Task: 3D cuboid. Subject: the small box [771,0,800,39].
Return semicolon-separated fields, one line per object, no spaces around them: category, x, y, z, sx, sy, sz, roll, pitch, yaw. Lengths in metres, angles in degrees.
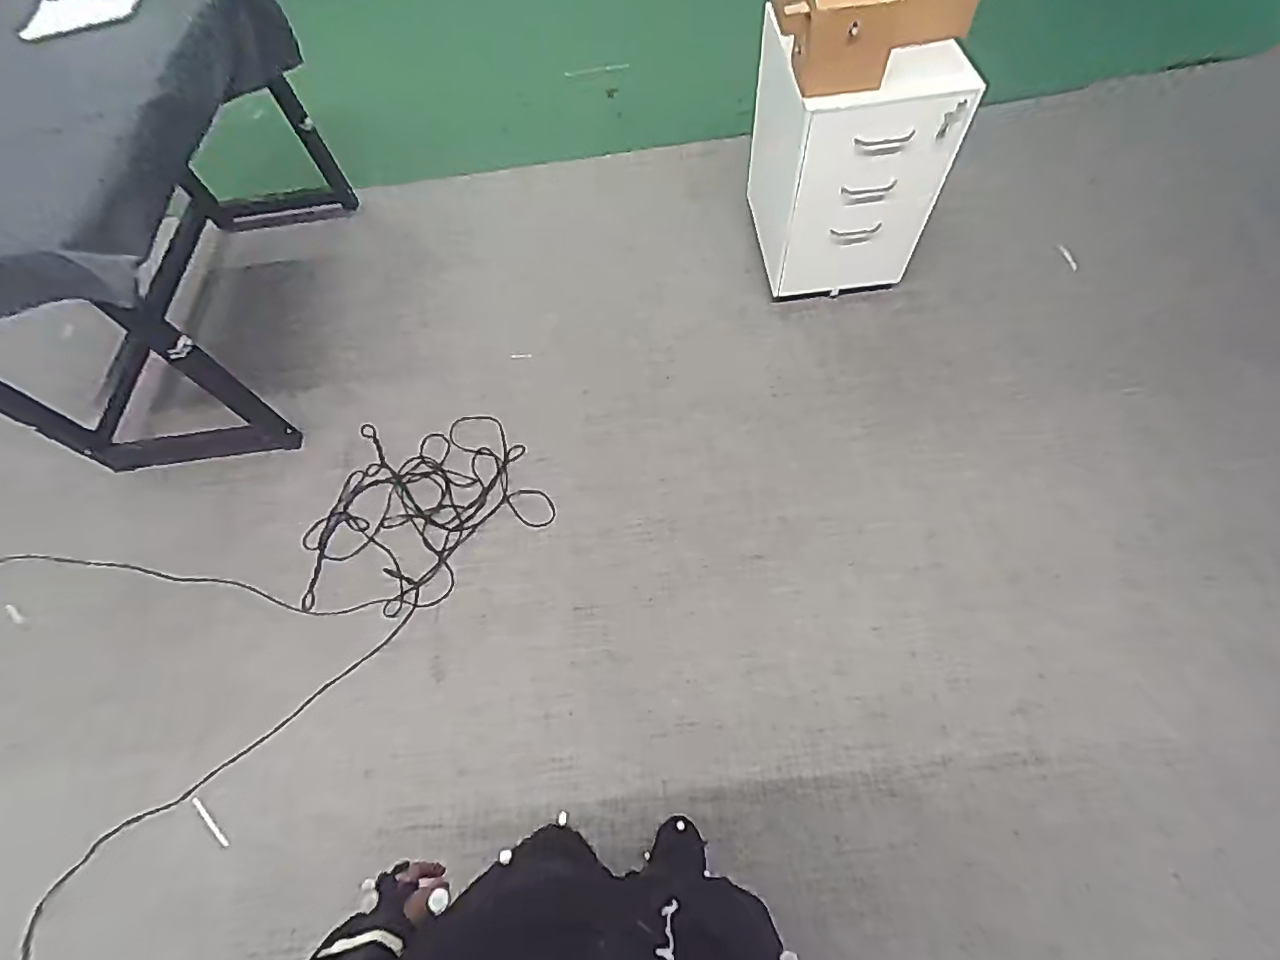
small box;0.425;-1.218;1.324;0.179;0.176;0.168;-5;64;1

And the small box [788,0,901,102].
small box;0.441;-0.975;1.194;0.179;0.176;0.168;-5;62;2
